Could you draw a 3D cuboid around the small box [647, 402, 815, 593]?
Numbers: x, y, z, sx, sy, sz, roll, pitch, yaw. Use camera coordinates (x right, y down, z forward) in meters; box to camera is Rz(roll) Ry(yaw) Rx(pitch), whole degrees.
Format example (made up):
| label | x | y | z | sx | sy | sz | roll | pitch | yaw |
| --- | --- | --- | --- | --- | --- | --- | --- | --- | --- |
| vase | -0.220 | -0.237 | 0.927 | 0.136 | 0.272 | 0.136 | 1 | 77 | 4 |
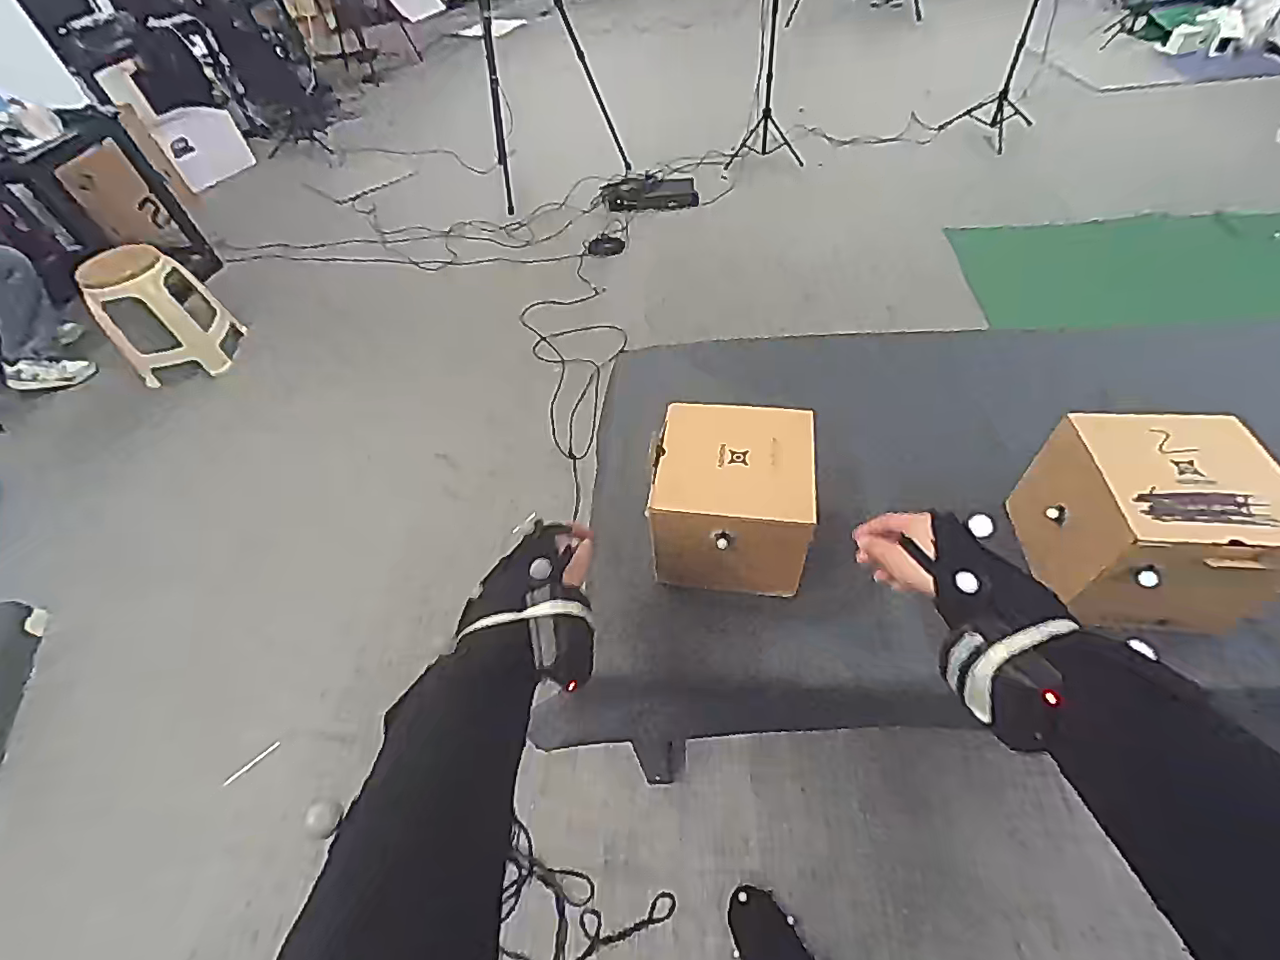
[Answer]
| label | x | y | z | sx | sy | sz | roll | pitch | yaw |
| --- | --- | --- | --- | --- | --- | --- | --- | --- | --- |
| small box | 0.112 | 0.025 | 0.668 | 0.179 | 0.176 | 0.168 | 5 | 53 | 9 |
